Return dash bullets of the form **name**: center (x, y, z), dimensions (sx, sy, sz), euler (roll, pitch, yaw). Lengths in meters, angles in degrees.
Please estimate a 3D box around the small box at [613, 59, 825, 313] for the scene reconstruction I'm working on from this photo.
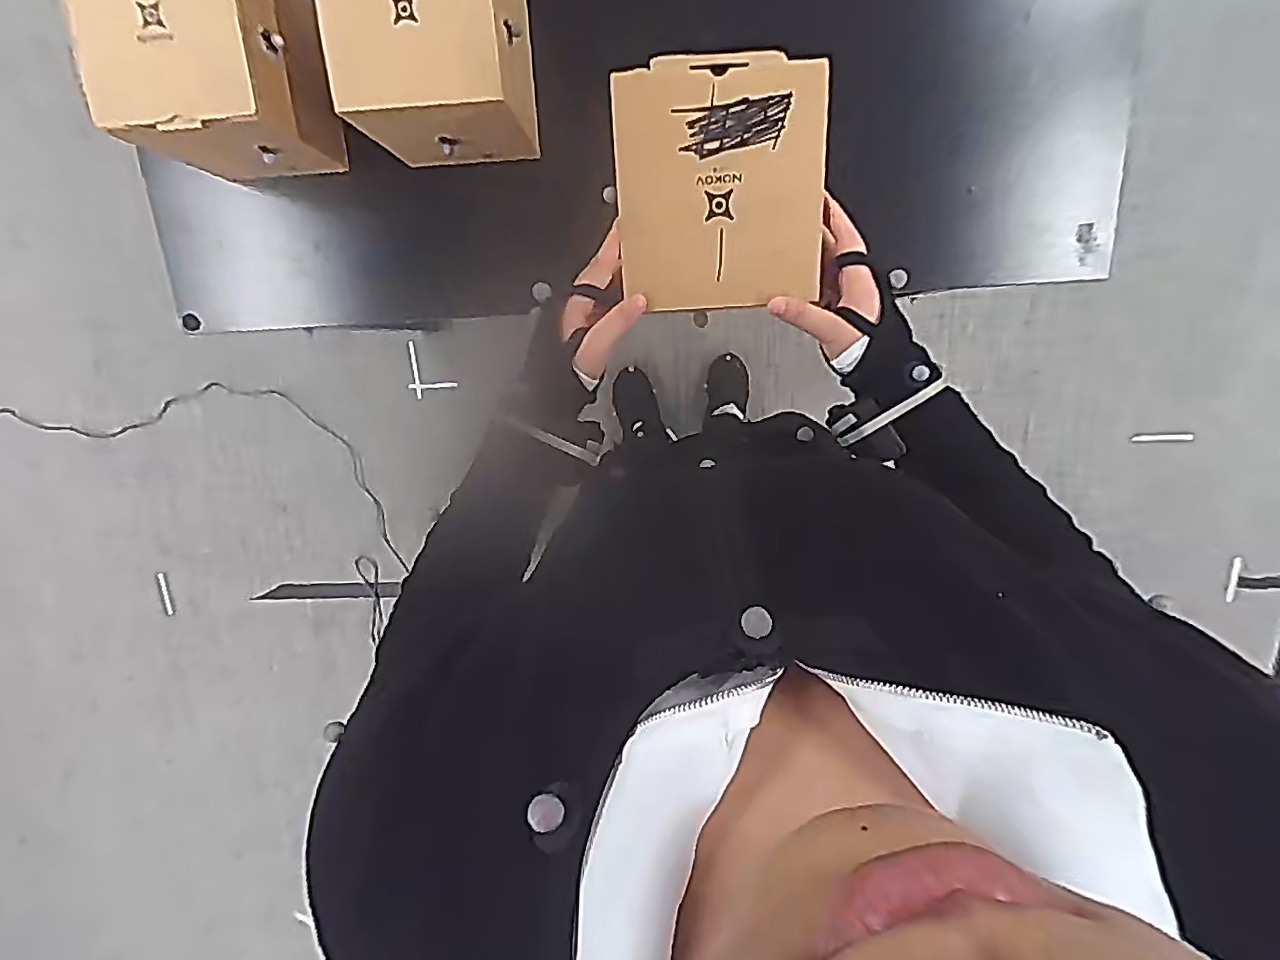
- **small box**: center (0.062, -0.253, 0.507), dimensions (0.168, 0.176, 0.179), euler (-3, 107, 1)

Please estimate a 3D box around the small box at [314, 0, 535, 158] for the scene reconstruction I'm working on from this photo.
- **small box**: center (-0.213, -0.457, 0.568), dimensions (0.168, 0.176, 0.179), euler (-2, 104, 2)

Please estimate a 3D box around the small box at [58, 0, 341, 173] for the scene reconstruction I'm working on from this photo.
- **small box**: center (-0.452, -0.448, 0.579), dimensions (0.168, 0.176, 0.179), euler (-4, 103, 2)
